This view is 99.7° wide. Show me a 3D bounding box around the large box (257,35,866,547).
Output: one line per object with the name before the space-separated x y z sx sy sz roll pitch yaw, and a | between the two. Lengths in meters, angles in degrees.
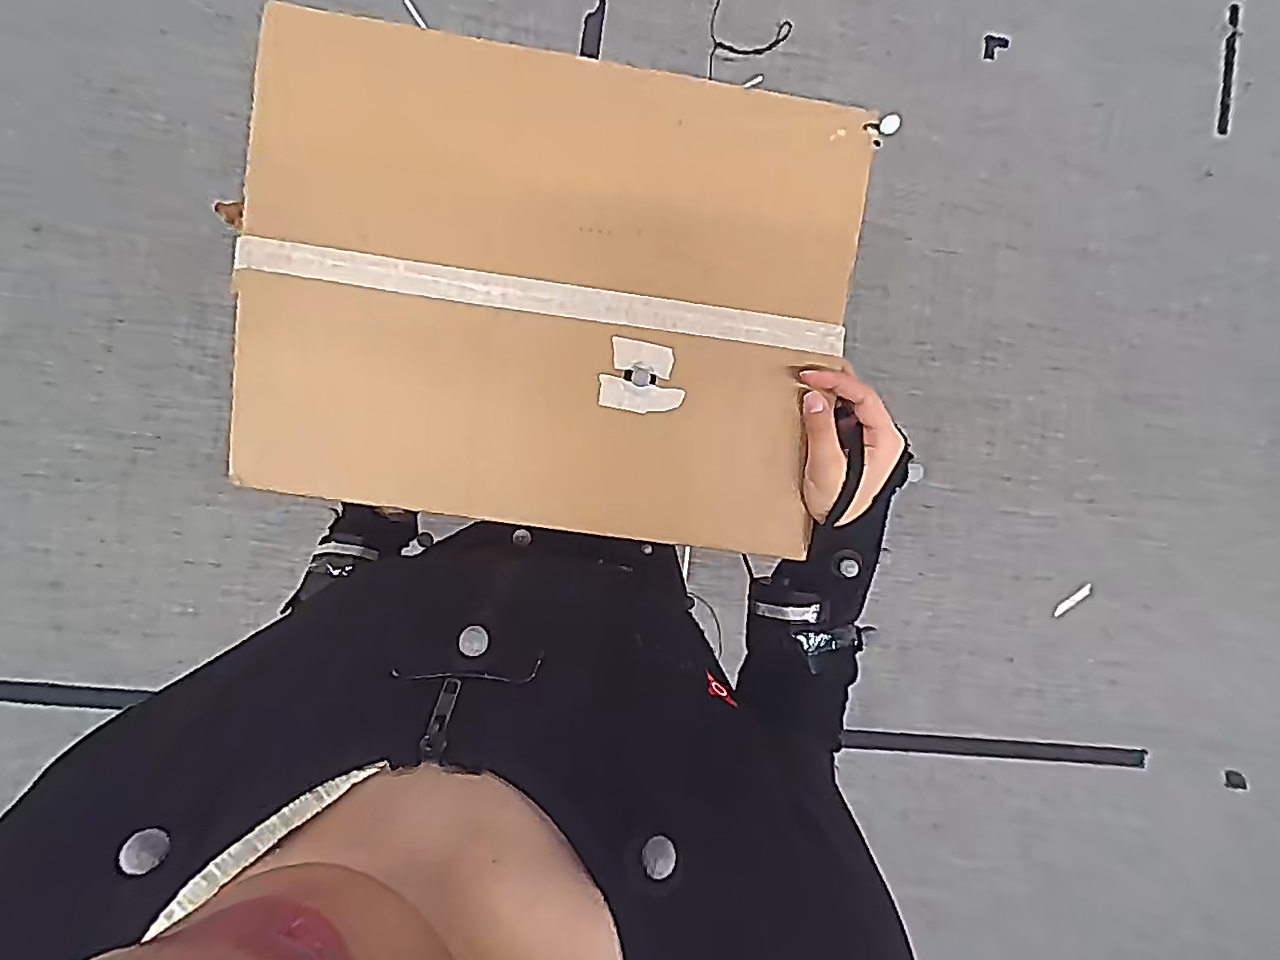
large box | -0.064 -0.133 0.525 0.408 0.320 0.320 7 95 -4
